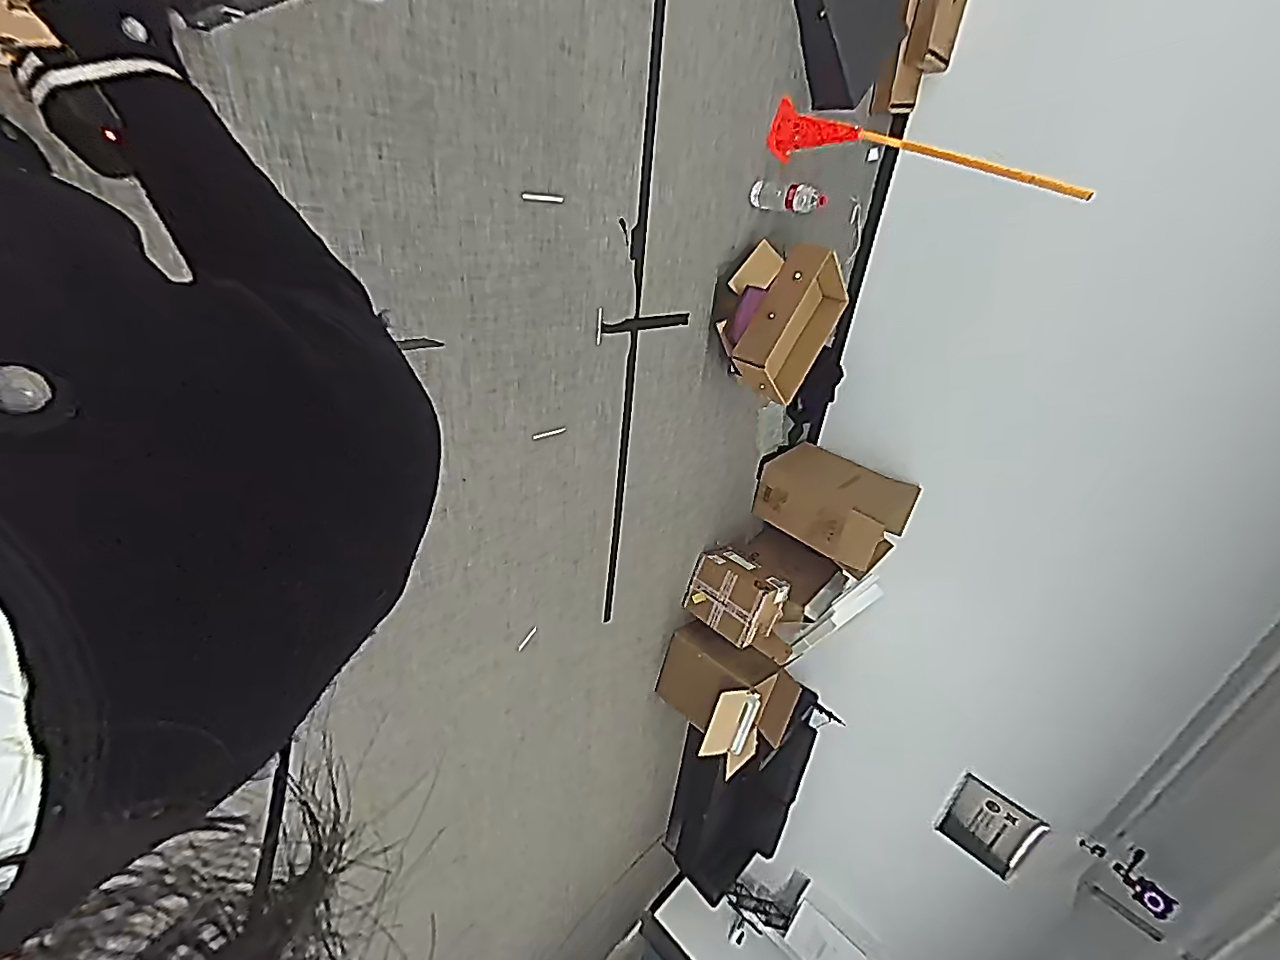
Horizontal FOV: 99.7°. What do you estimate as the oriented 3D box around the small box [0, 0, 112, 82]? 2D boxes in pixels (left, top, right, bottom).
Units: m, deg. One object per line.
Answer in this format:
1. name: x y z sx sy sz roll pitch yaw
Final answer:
1. small box: -0.940 -0.719 0.808 0.168 0.176 0.179 -22 129 -41
